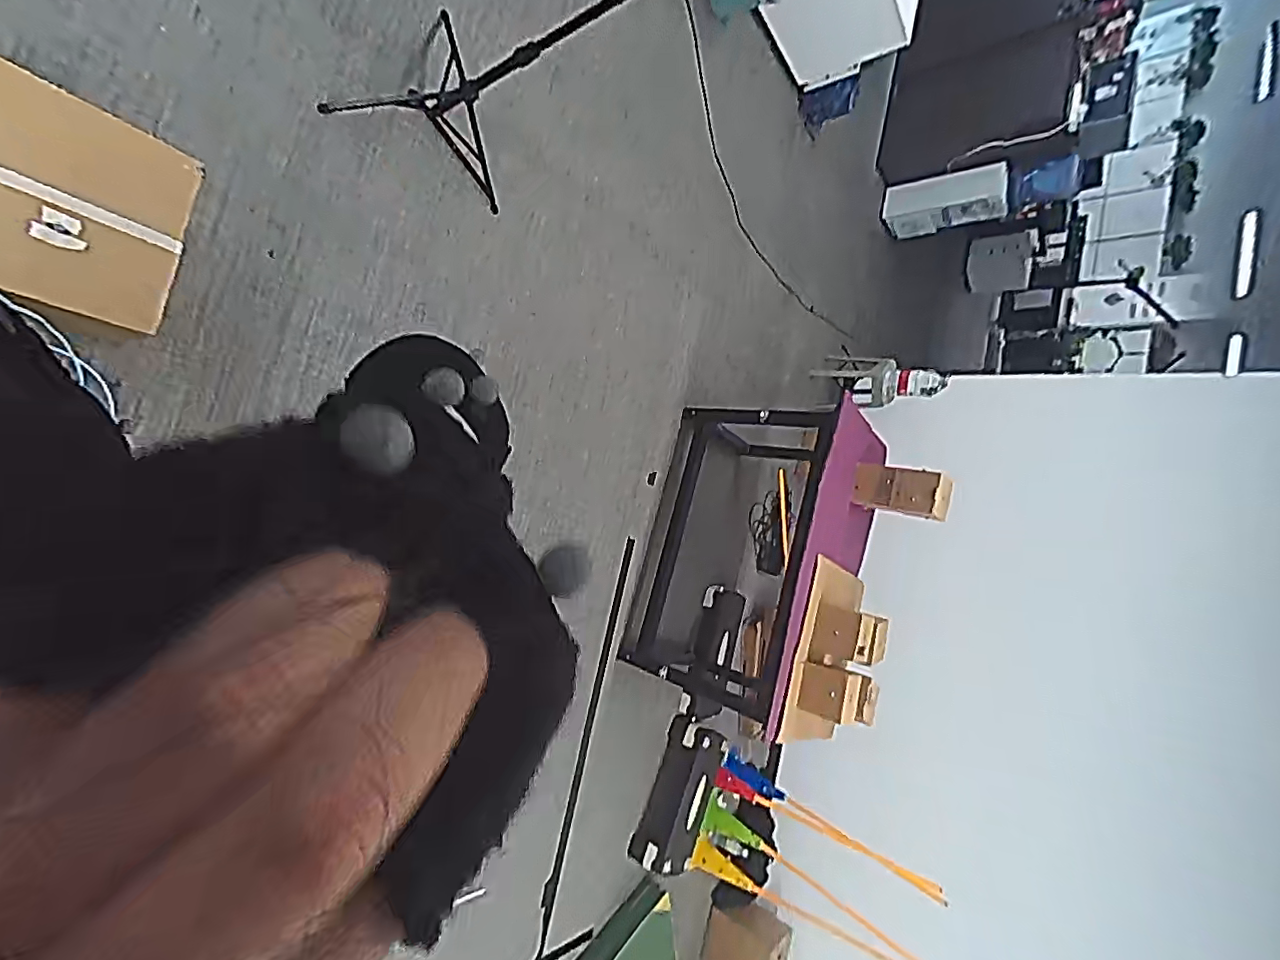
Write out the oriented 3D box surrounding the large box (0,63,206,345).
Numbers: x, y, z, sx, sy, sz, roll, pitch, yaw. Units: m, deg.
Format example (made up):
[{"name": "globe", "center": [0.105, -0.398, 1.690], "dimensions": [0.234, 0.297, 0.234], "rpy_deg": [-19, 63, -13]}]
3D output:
[{"name": "large box", "center": [-1.016, -0.441, 0.863], "dimensions": [0.408, 0.320, 0.320], "rpy_deg": [18, 83, -50]}]
